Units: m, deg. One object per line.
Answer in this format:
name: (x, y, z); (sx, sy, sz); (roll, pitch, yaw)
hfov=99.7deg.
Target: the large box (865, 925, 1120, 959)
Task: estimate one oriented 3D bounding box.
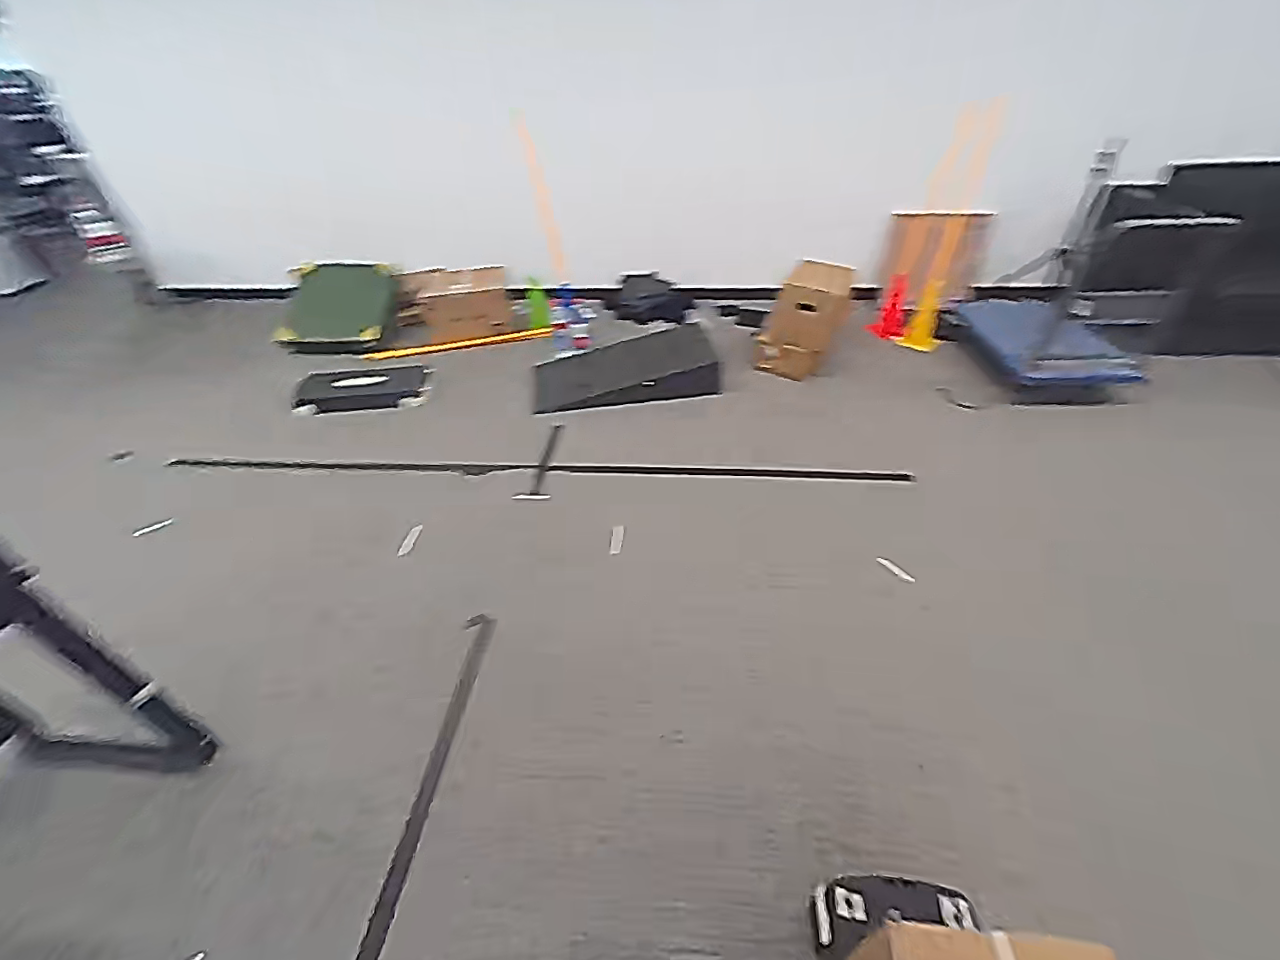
large box: (0.509, 0.898, 0.717); (0.320, 0.320, 0.408); (3, 39, 6)
